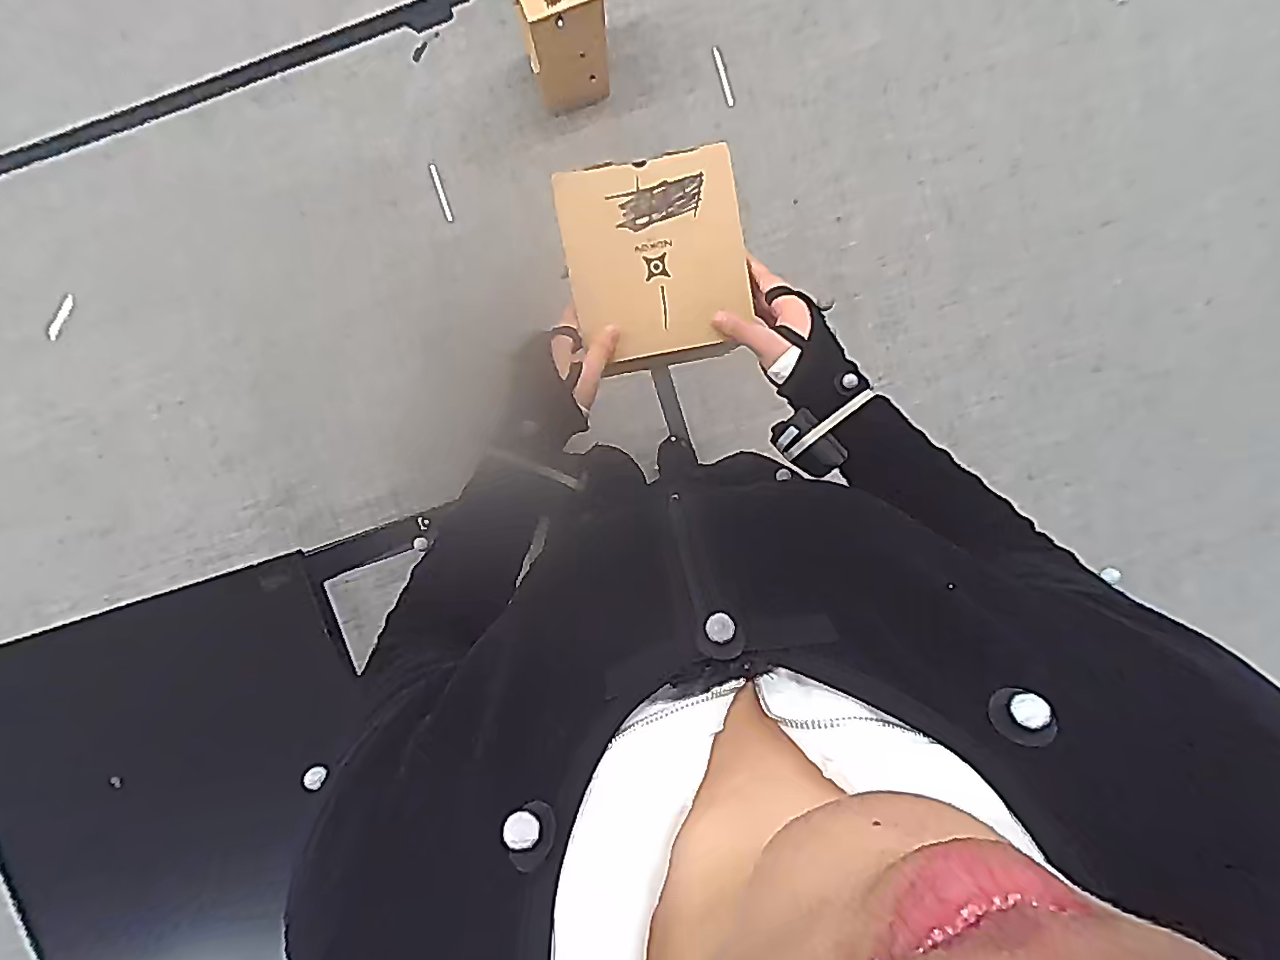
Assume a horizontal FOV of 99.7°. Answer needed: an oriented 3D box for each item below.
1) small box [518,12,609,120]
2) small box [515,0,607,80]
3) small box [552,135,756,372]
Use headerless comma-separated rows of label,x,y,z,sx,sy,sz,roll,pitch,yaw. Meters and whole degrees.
small box,-0.180,-1.044,1.340,0.179,0.176,0.168,-19,93,2
small box,-0.178,-1.032,1.177,0.168,0.176,0.179,-20,93,1
small box,0.011,-0.221,0.573,0.168,0.176,0.179,-11,97,0
